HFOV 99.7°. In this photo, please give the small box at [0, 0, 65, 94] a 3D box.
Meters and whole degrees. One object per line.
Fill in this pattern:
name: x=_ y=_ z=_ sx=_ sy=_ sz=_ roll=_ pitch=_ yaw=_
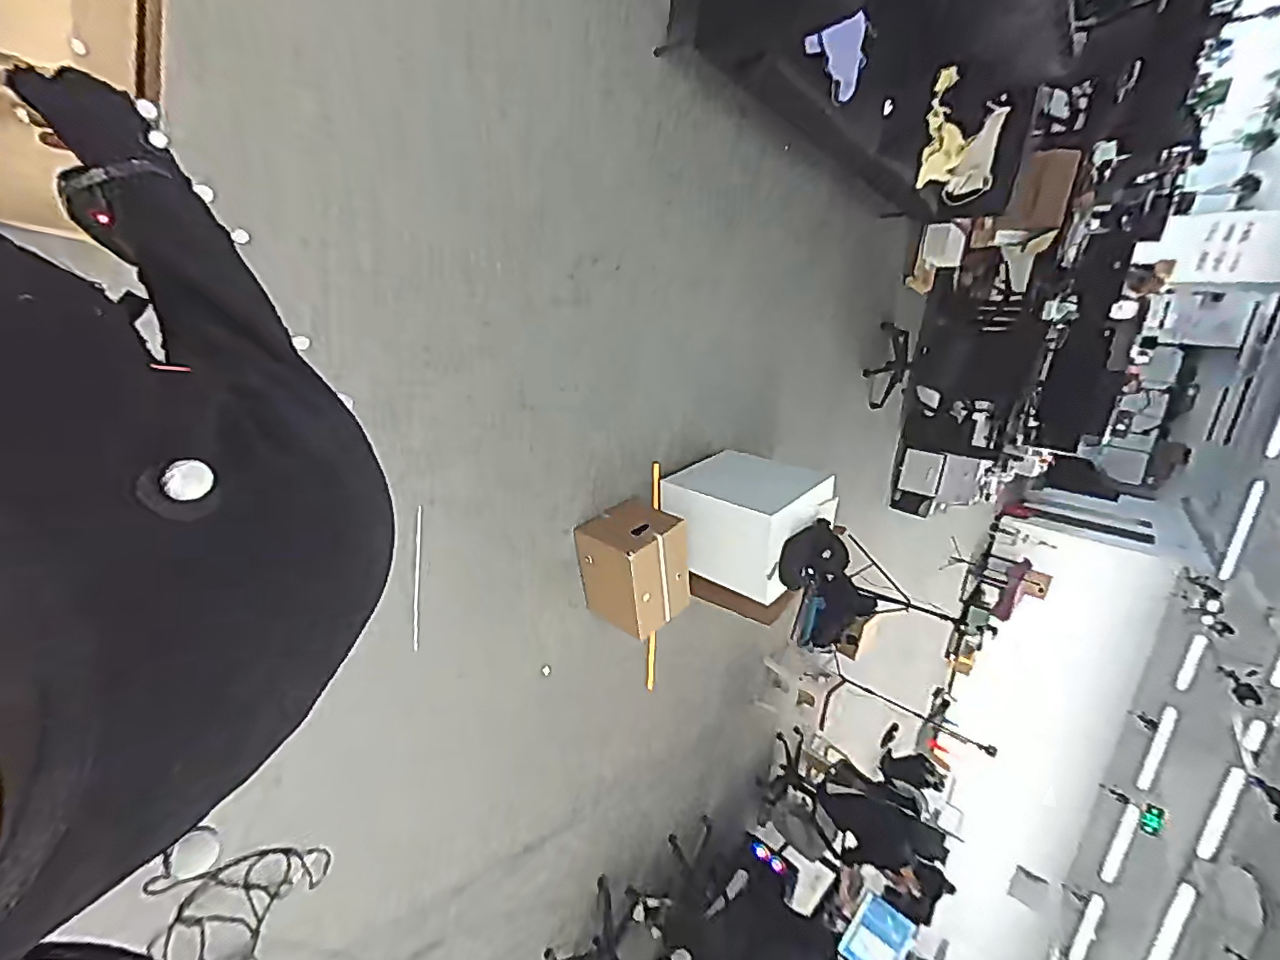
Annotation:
small box: x=-0.858 y=-0.625 z=0.679 sx=0.179 sy=0.176 sz=0.168 roll=-4 pitch=105 yaw=-50
